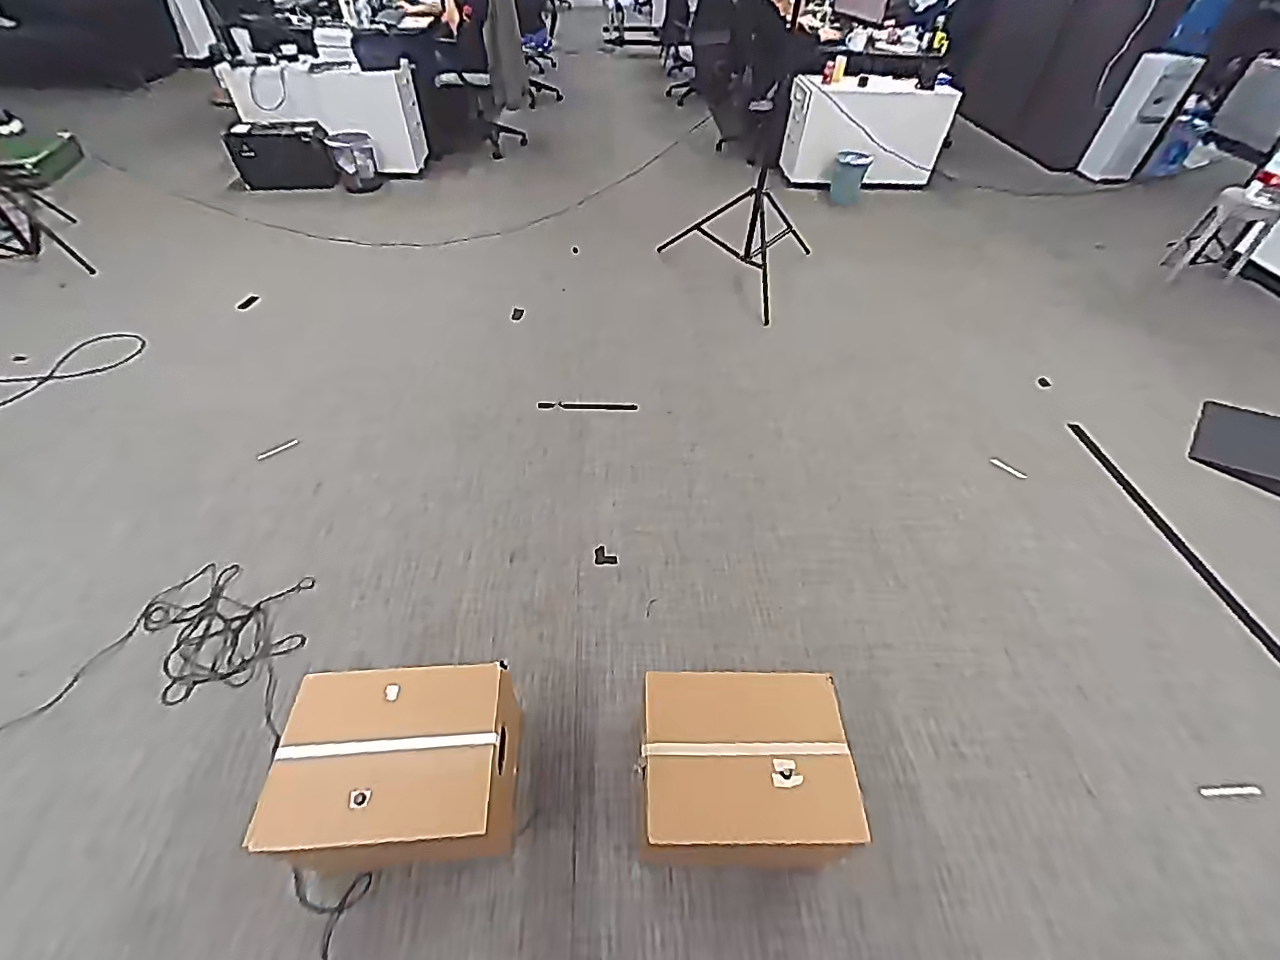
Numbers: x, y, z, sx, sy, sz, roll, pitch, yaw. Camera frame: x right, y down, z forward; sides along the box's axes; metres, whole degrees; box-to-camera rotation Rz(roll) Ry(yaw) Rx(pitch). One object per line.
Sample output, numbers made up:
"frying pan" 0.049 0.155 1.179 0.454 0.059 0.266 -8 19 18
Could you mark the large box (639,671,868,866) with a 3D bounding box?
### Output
"large box" 0.208 0.631 1.182 0.408 0.320 0.320 2 48 -3
